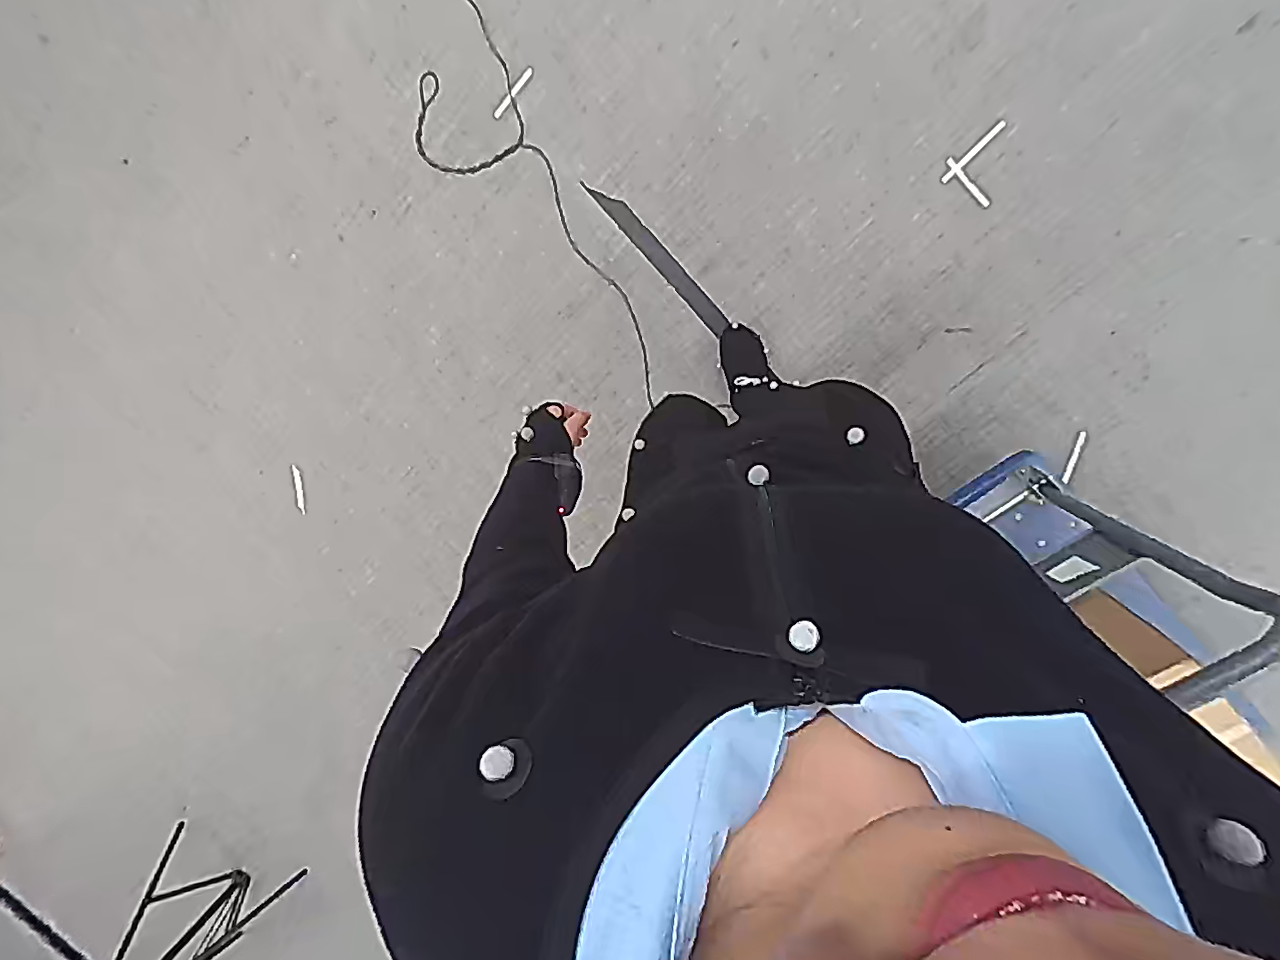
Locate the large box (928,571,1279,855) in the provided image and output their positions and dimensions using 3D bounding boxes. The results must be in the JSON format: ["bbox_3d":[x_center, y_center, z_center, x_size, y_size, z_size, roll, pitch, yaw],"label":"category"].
[{"bbox_3d":[0.912,0.465,1.129,0.408,0.320,0.320,-39,95,17],"label":"large box"}]
